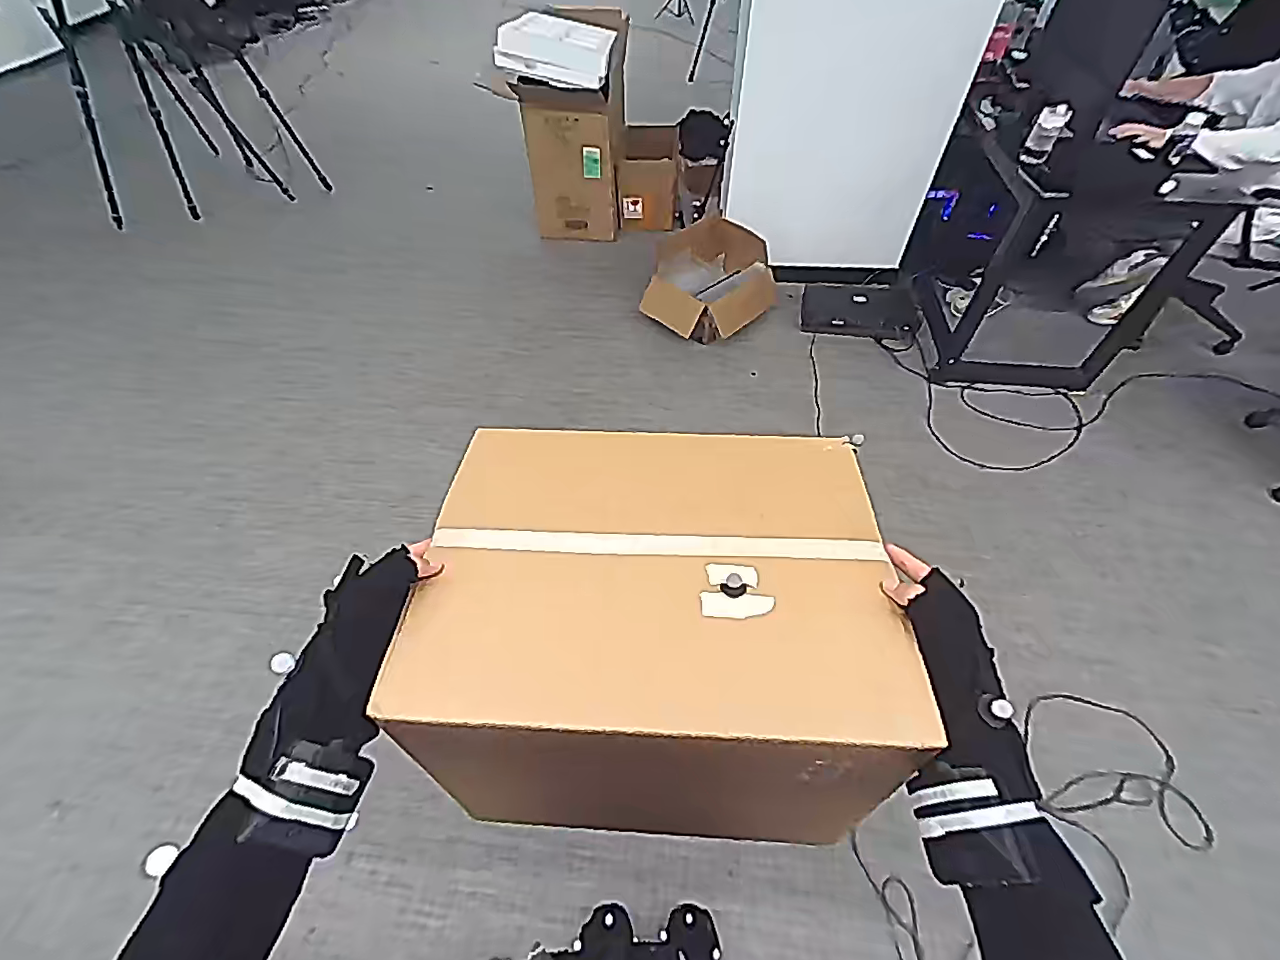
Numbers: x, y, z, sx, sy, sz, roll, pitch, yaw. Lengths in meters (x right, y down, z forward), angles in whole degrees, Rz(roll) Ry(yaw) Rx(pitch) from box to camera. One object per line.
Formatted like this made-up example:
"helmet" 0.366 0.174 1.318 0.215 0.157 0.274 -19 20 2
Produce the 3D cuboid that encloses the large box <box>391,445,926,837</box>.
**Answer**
"large box" 0.017 0.177 0.603 0.408 0.320 0.320 2 46 3
